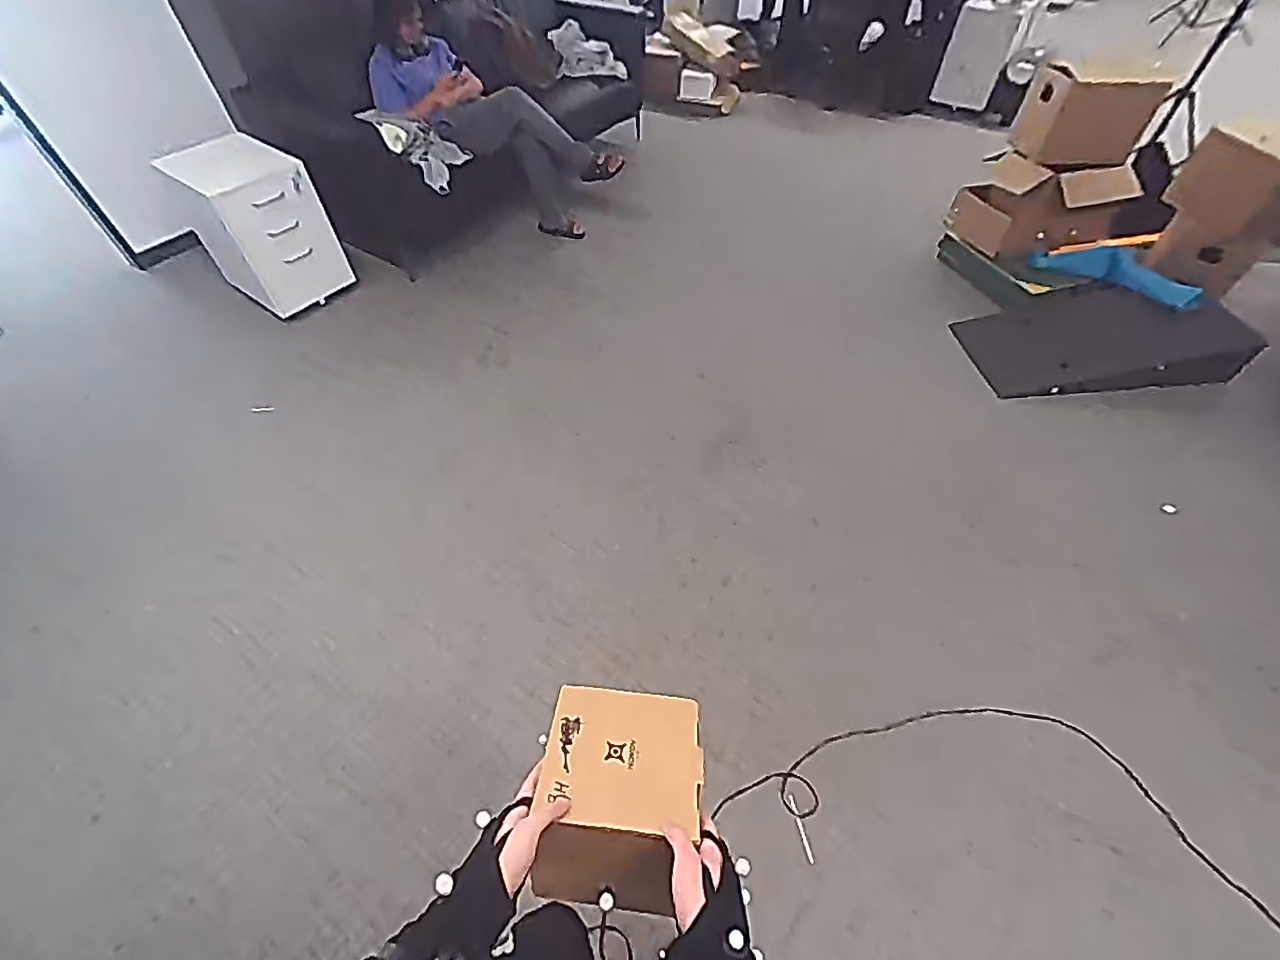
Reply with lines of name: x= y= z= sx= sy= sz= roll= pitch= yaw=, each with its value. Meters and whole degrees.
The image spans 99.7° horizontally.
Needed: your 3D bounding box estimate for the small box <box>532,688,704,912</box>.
small box: x=-0.024 y=0.382 z=0.649 sx=0.179 sy=0.176 sz=0.168 roll=6 pitch=29 yaw=1
